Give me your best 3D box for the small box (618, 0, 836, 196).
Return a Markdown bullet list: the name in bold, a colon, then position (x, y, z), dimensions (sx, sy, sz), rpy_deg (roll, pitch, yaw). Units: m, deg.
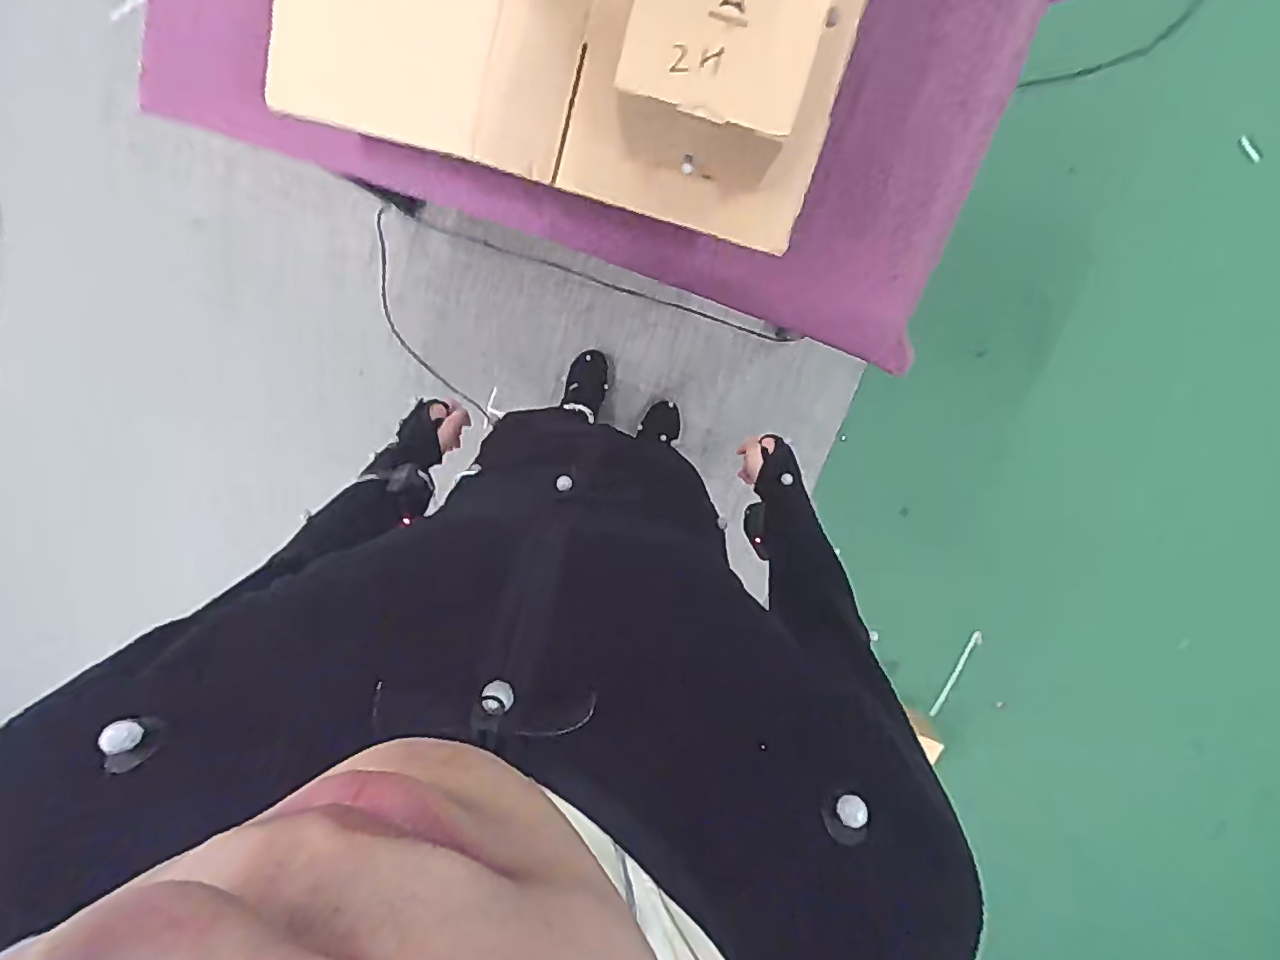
- **small box**: position (0.081, -0.421, 0.544), dimensions (0.168, 0.176, 0.179), rpy_deg (17, 103, -2)
